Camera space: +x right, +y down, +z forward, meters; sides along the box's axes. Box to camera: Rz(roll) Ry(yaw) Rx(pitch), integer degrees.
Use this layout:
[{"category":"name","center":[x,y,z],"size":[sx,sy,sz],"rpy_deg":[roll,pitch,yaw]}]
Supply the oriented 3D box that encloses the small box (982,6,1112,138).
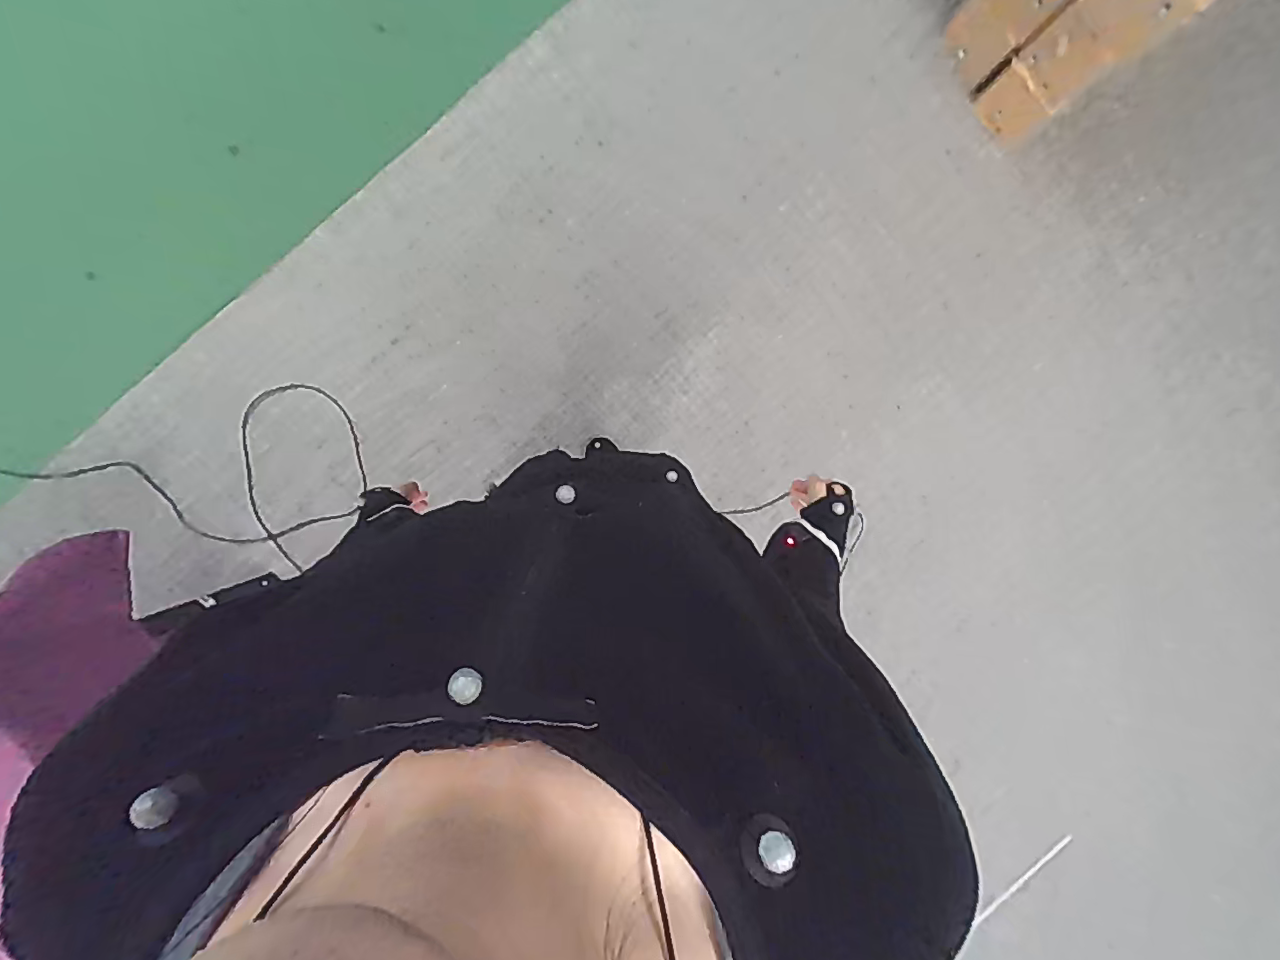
[{"category":"small box","center":[1.050,-1.052,1.410],"size":[0.179,0.176,0.168],"rpy_deg":[-41,94,2]}]
